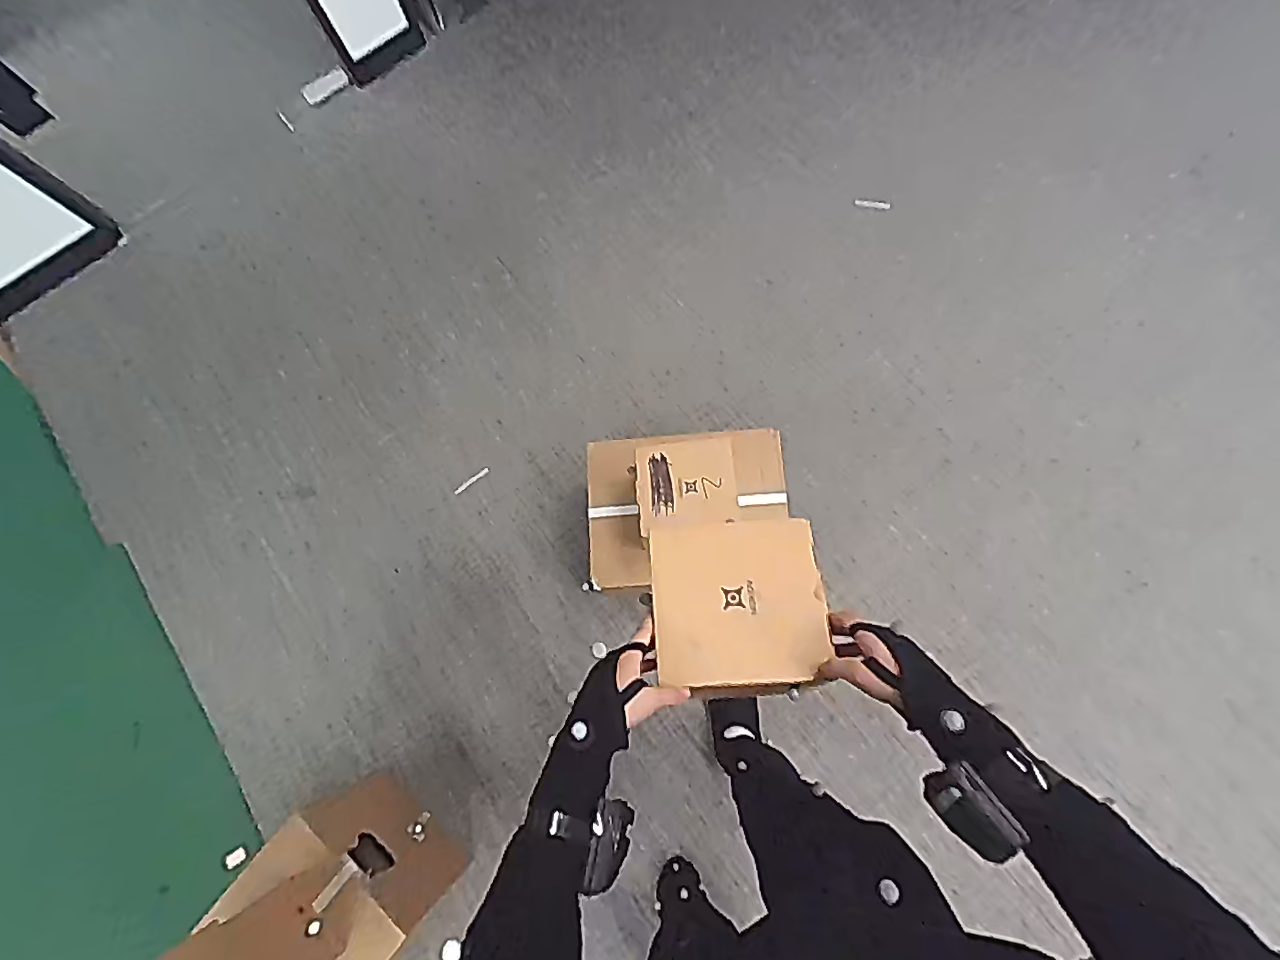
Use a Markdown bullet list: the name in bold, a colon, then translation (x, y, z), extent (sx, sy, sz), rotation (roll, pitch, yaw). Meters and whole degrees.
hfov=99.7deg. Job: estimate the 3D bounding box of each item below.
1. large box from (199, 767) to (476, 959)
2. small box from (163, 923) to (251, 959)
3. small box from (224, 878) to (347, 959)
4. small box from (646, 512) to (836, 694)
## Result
- **large box**: translation (-0.622, 0.894, 1.108), extent (0.320, 0.320, 0.408), rotation (37, 83, 14)
- **small box**: translation (-0.636, 0.760, 0.721), extent (0.179, 0.176, 0.168), rotation (42, 82, 12)
- **small box**: translation (-0.626, 0.811, 0.876), extent (0.168, 0.176, 0.179), rotation (41, 82, 12)
- **small box**: translation (0.101, 0.148, 0.621), extent (0.179, 0.176, 0.168), rotation (-4, 64, 1)
